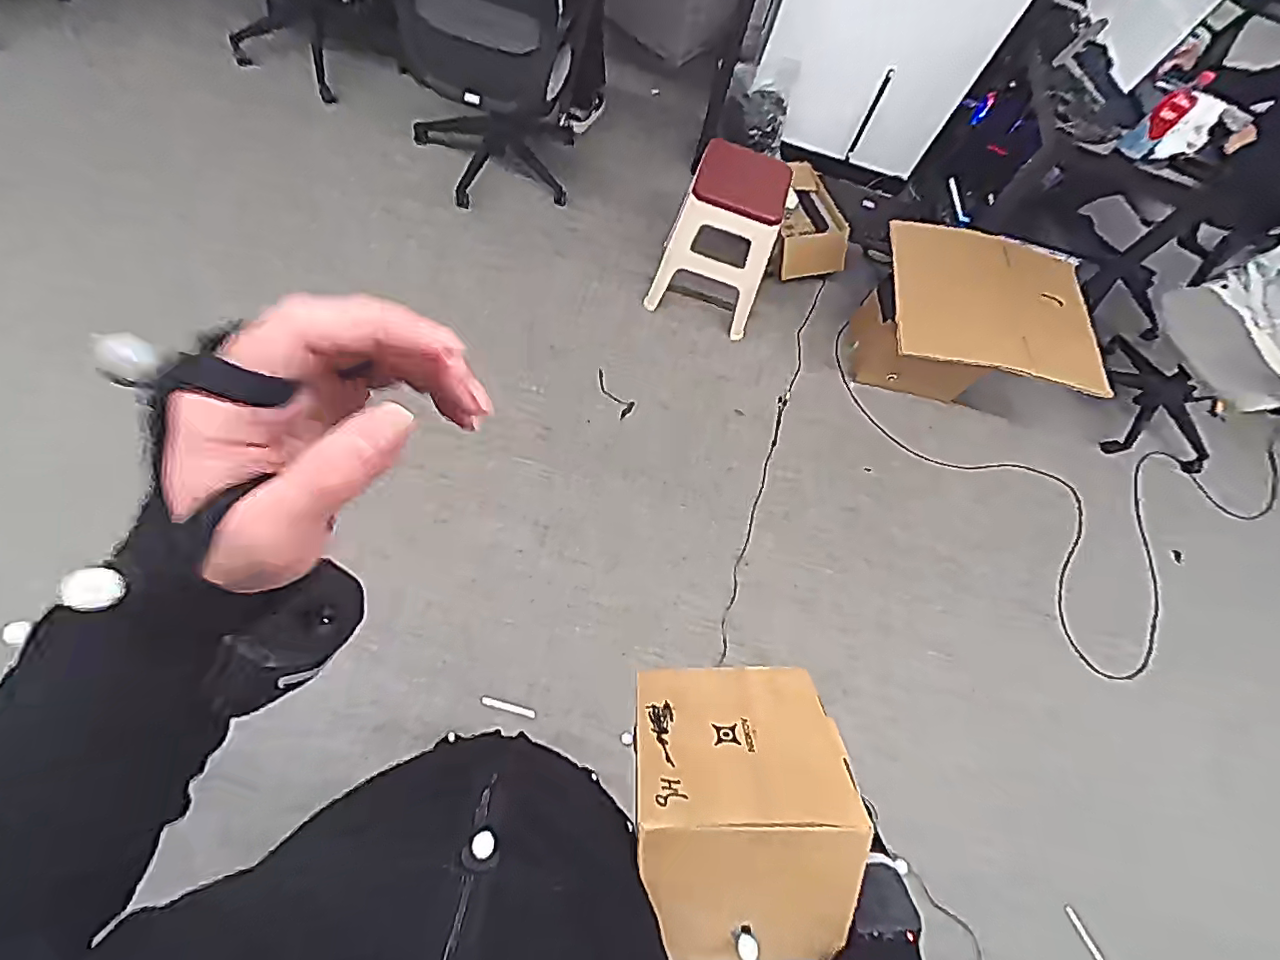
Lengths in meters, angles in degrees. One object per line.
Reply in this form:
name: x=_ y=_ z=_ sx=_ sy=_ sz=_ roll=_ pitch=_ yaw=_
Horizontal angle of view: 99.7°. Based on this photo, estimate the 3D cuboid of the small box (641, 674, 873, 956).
small box: x=0.091 y=0.309 z=0.515 sx=0.179 sy=0.176 sz=0.168 roll=0 pitch=22 yaw=-1
